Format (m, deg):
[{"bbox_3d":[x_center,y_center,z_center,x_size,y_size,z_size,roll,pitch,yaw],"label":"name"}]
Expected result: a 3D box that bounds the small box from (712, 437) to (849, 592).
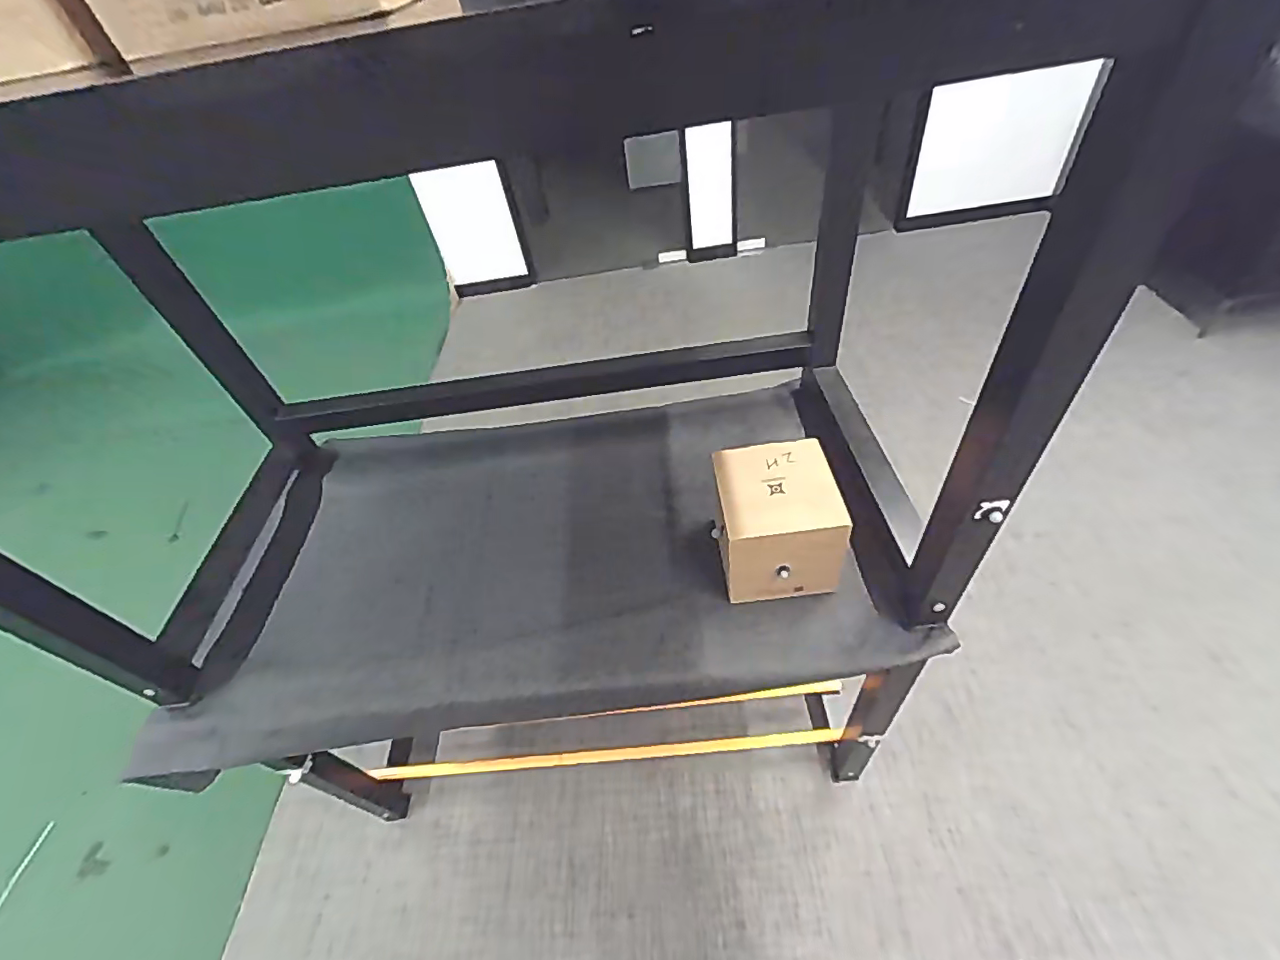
[{"bbox_3d":[0.207,0.060,0.836,0.168,0.176,0.179,-7,46,4],"label":"small box"}]
